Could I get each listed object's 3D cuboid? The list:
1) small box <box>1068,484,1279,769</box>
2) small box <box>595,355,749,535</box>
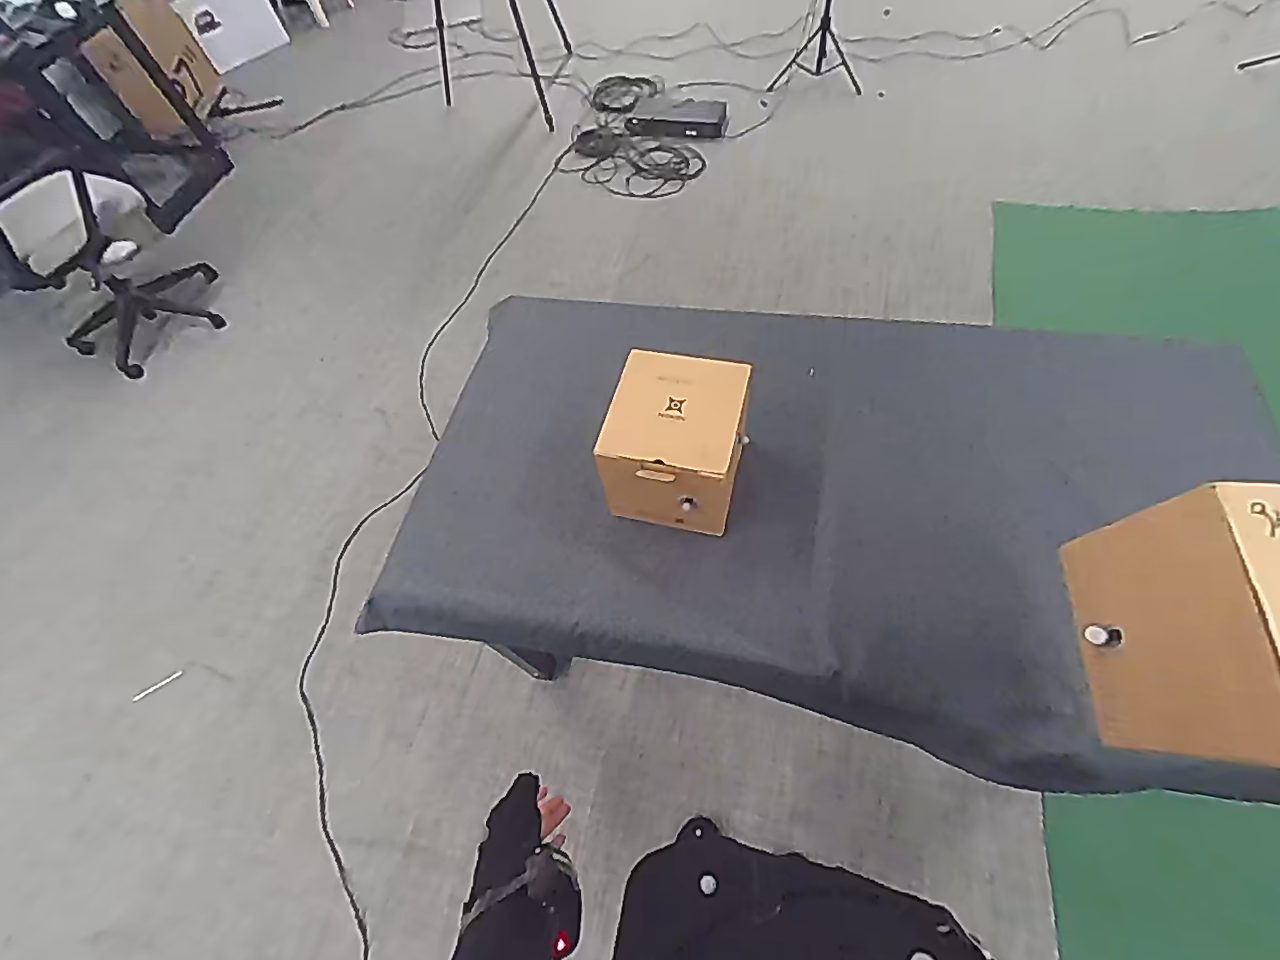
[{"bbox_3d":[0.468,0.115,0.399,0.168,0.176,0.179,2,68,5],"label":"small box"},{"bbox_3d":[0.052,-0.044,0.746,0.168,0.176,0.179,10,60,12],"label":"small box"}]
